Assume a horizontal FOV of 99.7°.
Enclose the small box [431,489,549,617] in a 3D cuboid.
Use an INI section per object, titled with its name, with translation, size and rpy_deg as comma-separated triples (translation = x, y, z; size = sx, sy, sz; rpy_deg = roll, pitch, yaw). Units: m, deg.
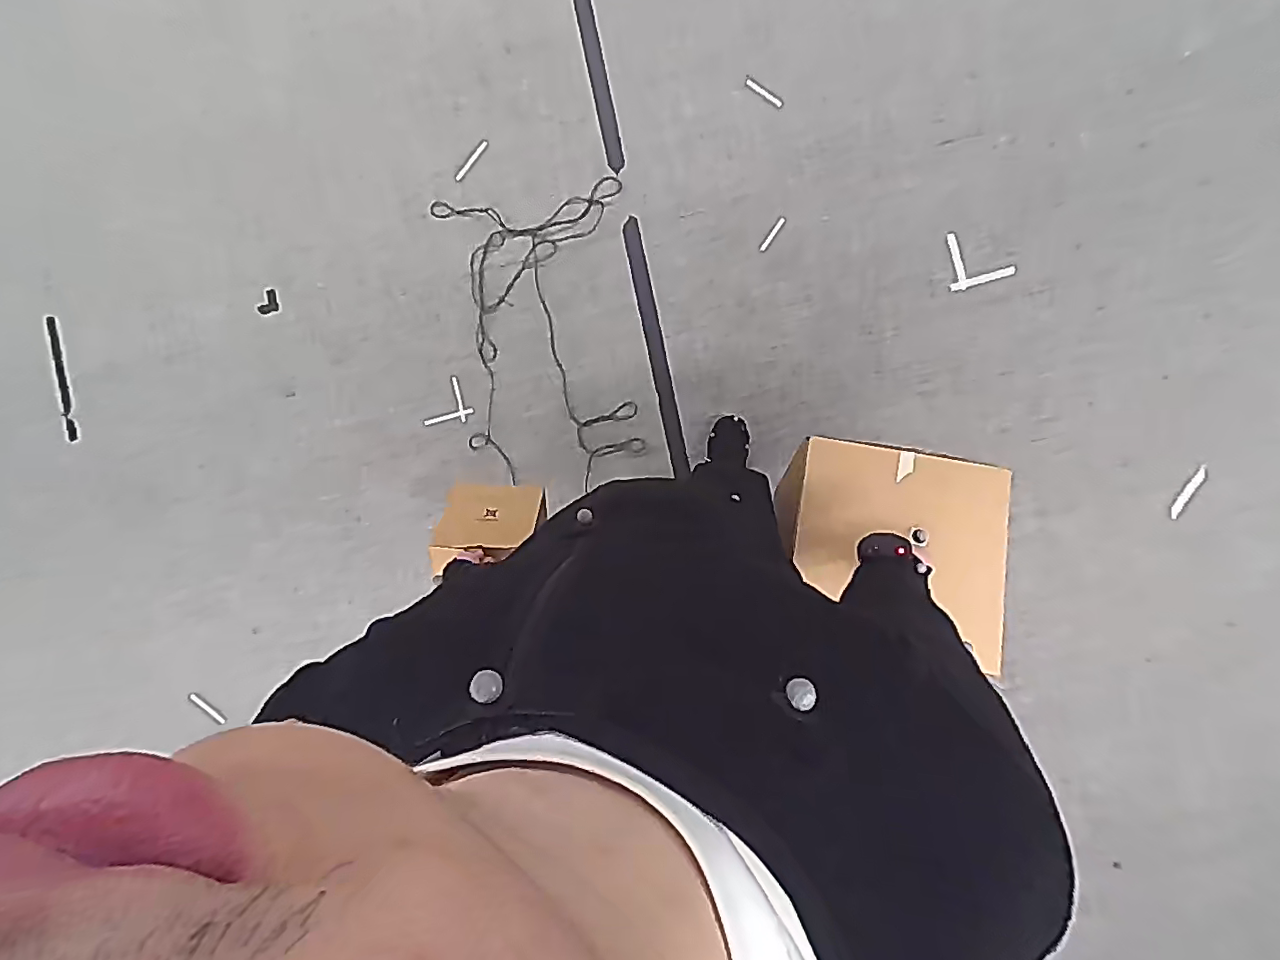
[small box]
translation = -0.262, 0.135, 0.997
size = 0.168, 0.179, 0.176
rpy_deg = 1, 124, -1
